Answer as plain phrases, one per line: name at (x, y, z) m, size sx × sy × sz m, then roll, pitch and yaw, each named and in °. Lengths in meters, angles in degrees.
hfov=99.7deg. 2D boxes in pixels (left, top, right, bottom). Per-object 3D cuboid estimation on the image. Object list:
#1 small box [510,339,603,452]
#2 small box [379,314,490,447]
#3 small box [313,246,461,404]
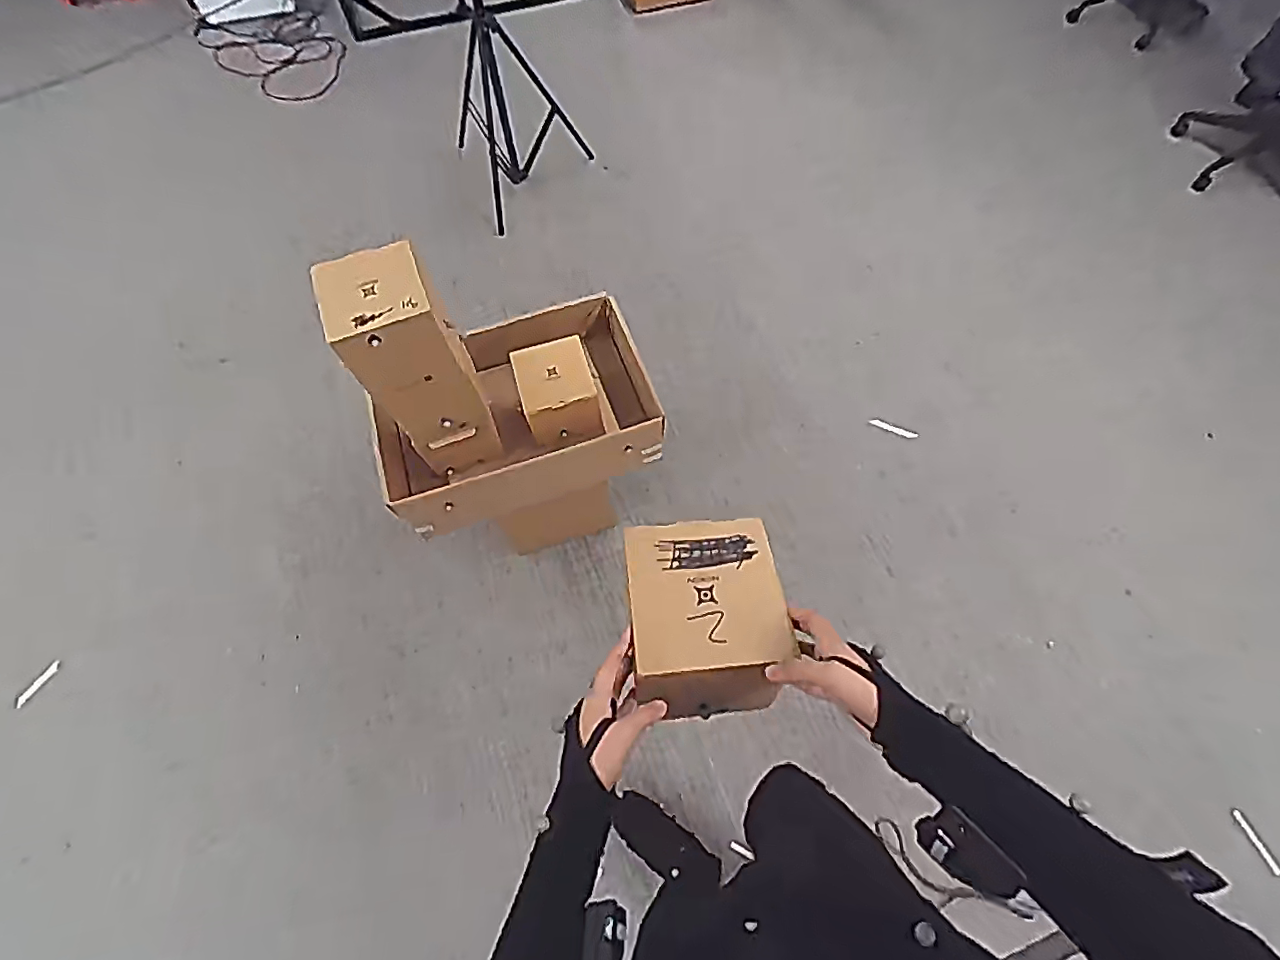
small box at (-0.192, -0.194, 1.269) m, size 0.168 × 0.176 × 0.179 m, roll -17°, pitch 66°, yaw -5°
small box at (-0.423, -0.196, 1.093) m, size 0.168 × 0.176 × 0.179 m, roll -21°, pitch 66°, yaw -8°
small box at (-0.434, -0.265, 0.944) m, size 0.168 × 0.176 × 0.179 m, roll -21°, pitch 65°, yaw -8°
